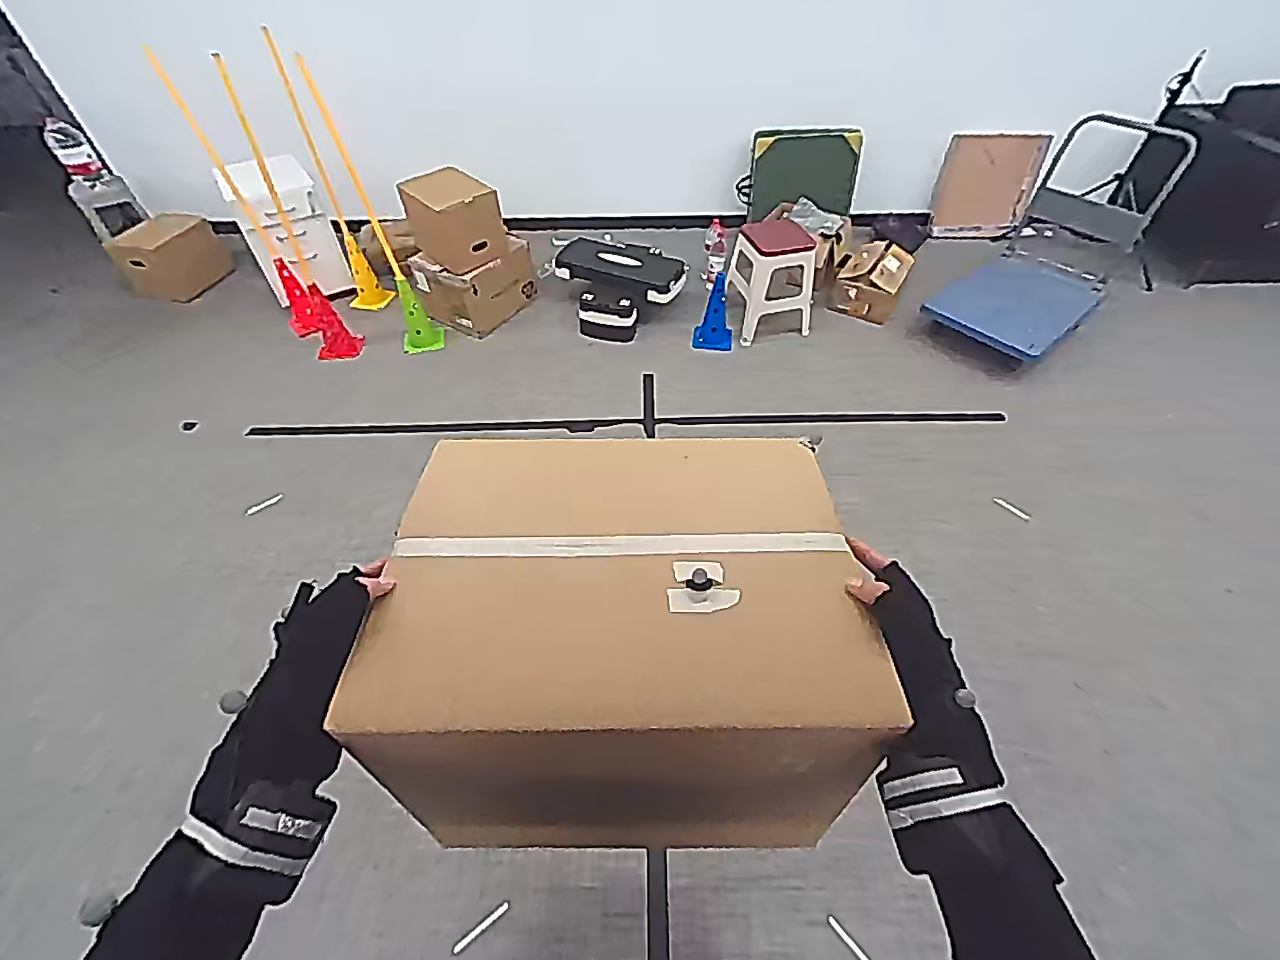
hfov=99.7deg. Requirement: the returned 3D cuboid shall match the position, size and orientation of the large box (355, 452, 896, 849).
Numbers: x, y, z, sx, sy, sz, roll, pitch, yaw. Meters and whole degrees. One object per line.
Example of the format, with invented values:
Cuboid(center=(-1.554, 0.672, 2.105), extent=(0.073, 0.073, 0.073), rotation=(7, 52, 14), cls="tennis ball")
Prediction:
Cuboid(center=(-0.012, 0.183, 0.598), extent=(0.408, 0.320, 0.320), rotation=(0, 43, 0), cls="large box")
